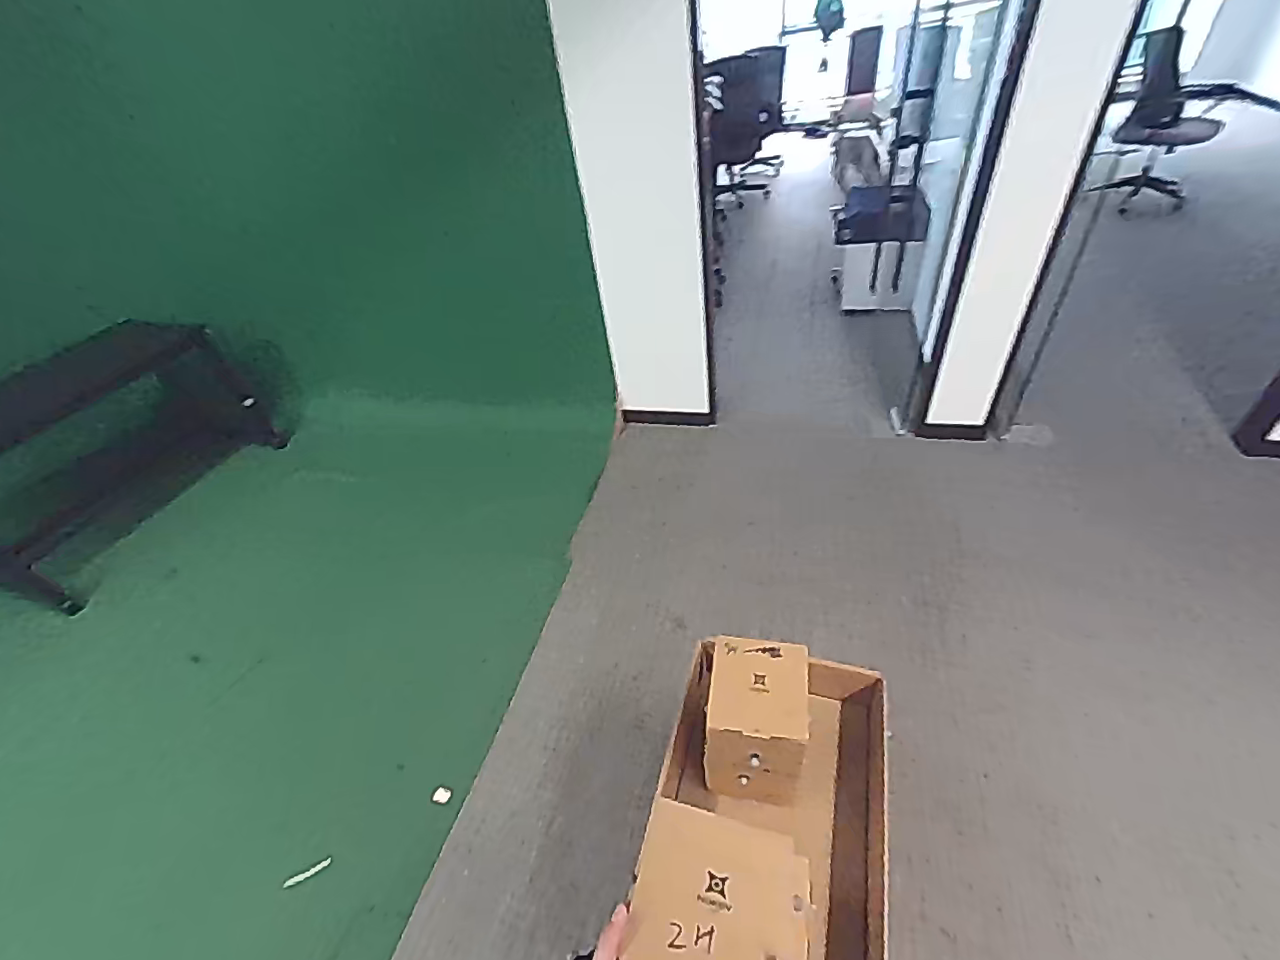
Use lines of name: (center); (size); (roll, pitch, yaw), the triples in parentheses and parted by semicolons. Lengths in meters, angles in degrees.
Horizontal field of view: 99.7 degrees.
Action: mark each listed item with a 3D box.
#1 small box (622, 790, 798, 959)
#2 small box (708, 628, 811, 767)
small box: (0.075, 0.497, 0.600); (0.168, 0.176, 0.179); (10, 27, 12)
small box: (0.221, 0.396, 0.983); (0.168, 0.176, 0.179); (3, 45, 14)
